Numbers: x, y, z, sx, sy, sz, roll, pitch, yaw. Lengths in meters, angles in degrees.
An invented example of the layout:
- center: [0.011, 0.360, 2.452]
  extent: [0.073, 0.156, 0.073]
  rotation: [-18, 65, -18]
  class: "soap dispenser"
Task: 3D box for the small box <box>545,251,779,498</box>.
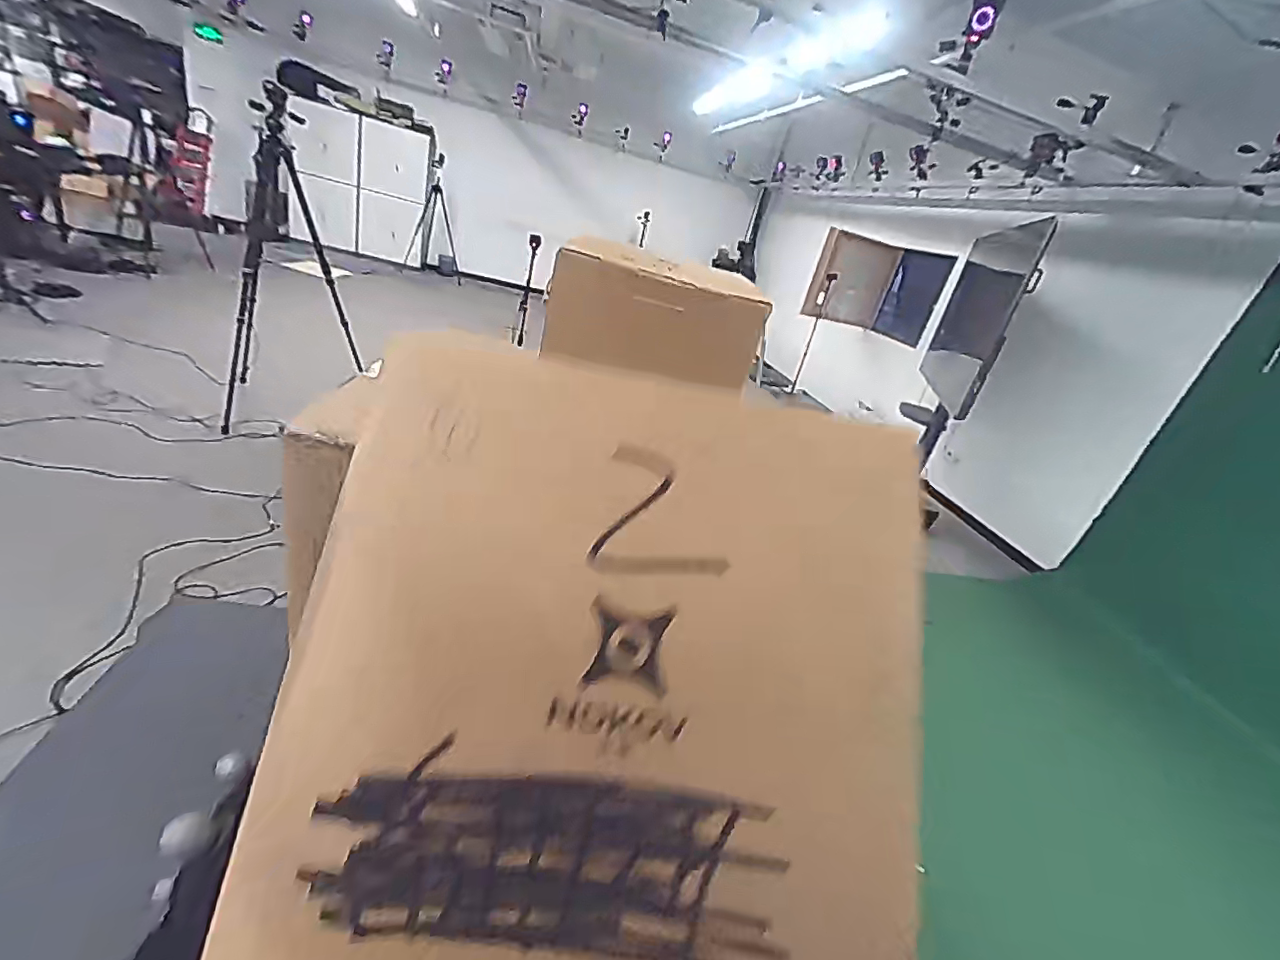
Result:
- center: [0.013, -0.108, 0.525]
  extent: [0.168, 0.176, 0.179]
  rotation: [14, 26, -5]
  class: "small box"
